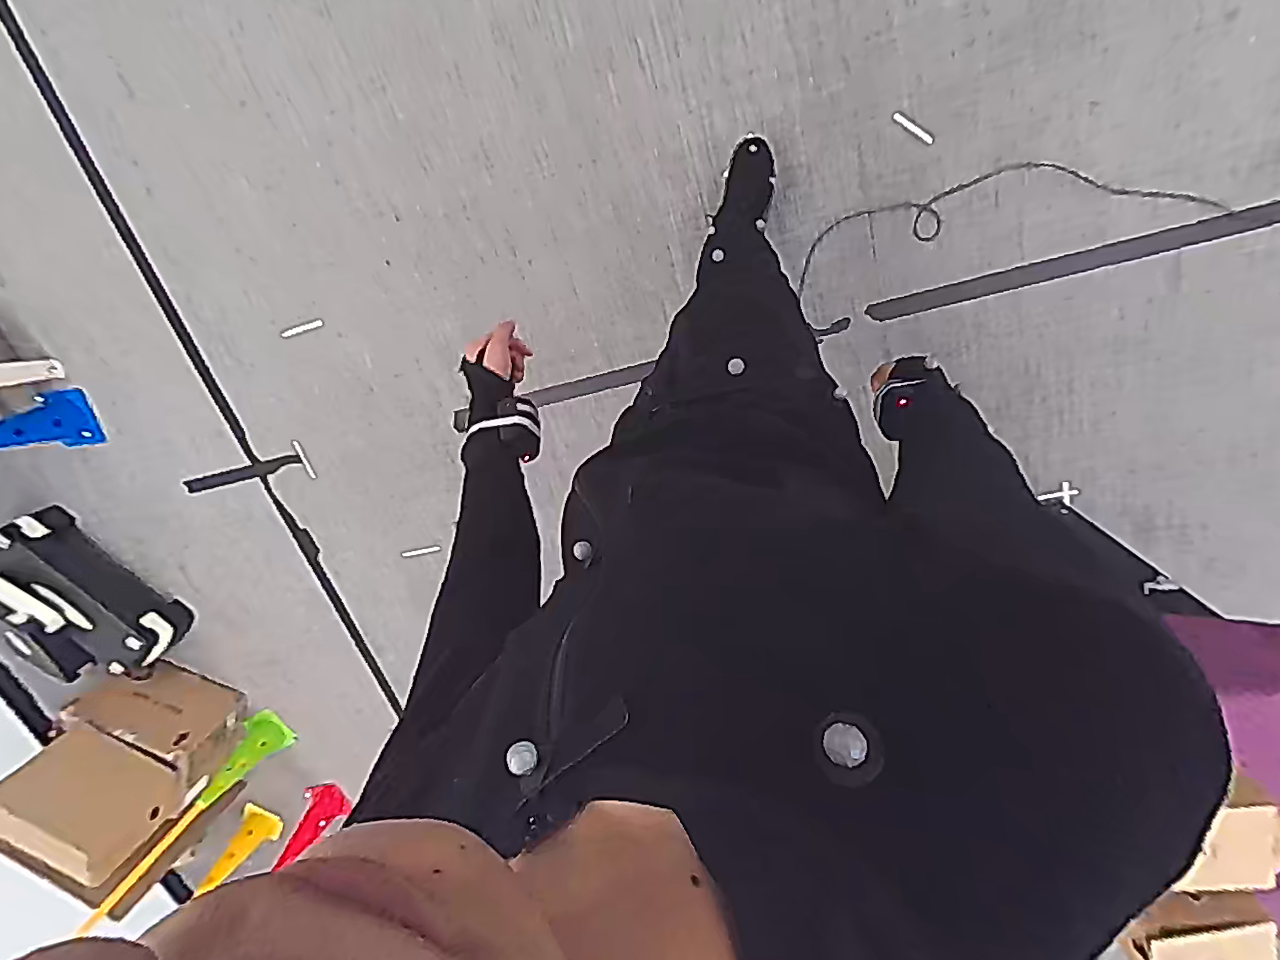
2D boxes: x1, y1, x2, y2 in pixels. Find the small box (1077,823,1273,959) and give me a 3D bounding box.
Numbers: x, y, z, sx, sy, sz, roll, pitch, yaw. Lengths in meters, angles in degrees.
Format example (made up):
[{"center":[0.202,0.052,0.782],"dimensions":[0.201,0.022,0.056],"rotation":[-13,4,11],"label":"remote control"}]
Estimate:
[{"center":[0.893,0.705,0.919],"dimensions":[0.179,0.176,0.168],"rotation":[-15,108,15],"label":"small box"}]
